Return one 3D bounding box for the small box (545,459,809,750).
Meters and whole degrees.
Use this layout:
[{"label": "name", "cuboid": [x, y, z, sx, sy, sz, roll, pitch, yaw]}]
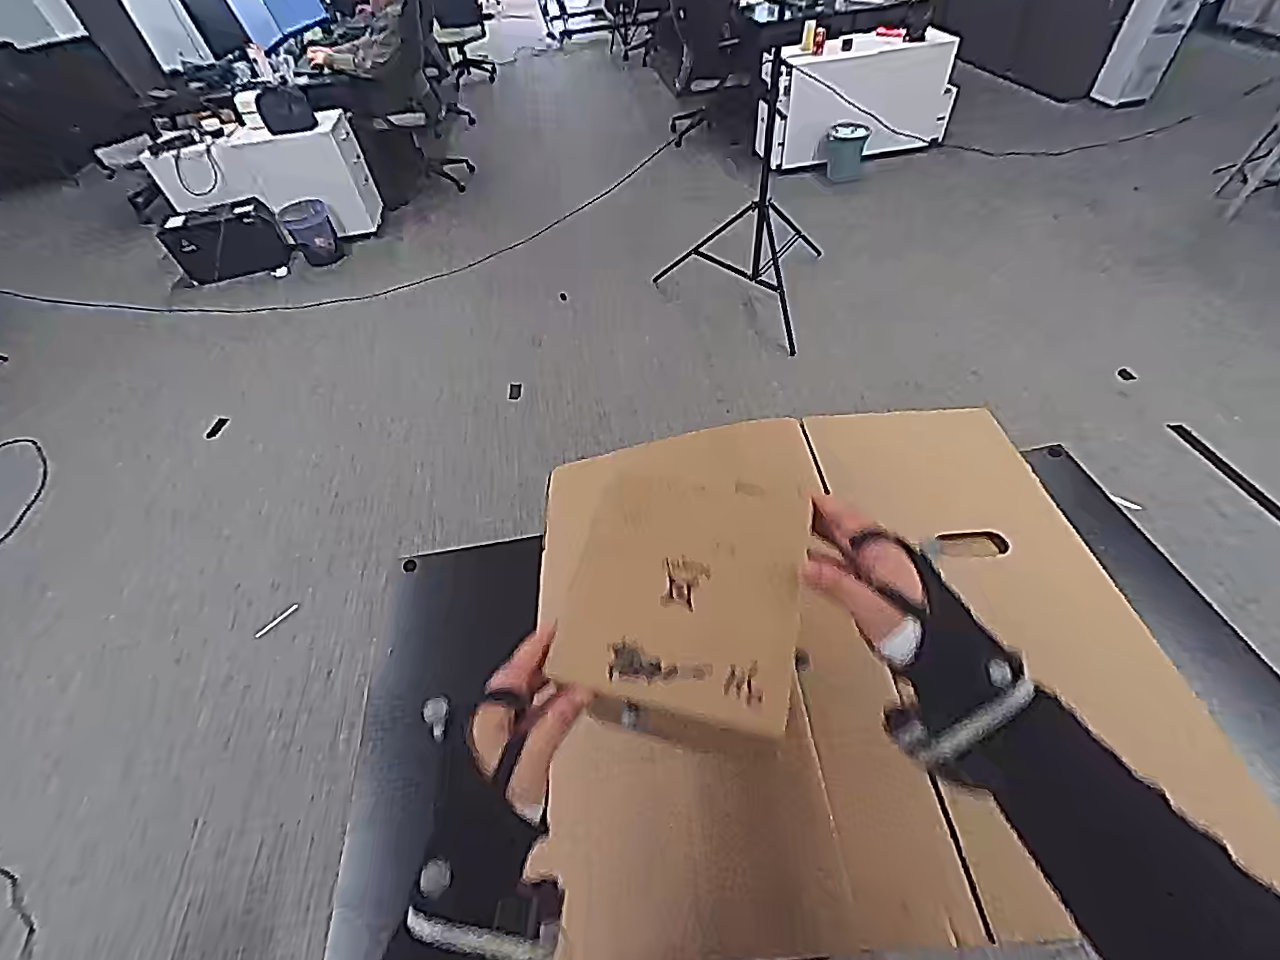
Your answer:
[{"label": "small box", "cuboid": [0.043, 0.108, 0.461, 0.168, 0.176, 0.179, 8, 58, 16]}]
